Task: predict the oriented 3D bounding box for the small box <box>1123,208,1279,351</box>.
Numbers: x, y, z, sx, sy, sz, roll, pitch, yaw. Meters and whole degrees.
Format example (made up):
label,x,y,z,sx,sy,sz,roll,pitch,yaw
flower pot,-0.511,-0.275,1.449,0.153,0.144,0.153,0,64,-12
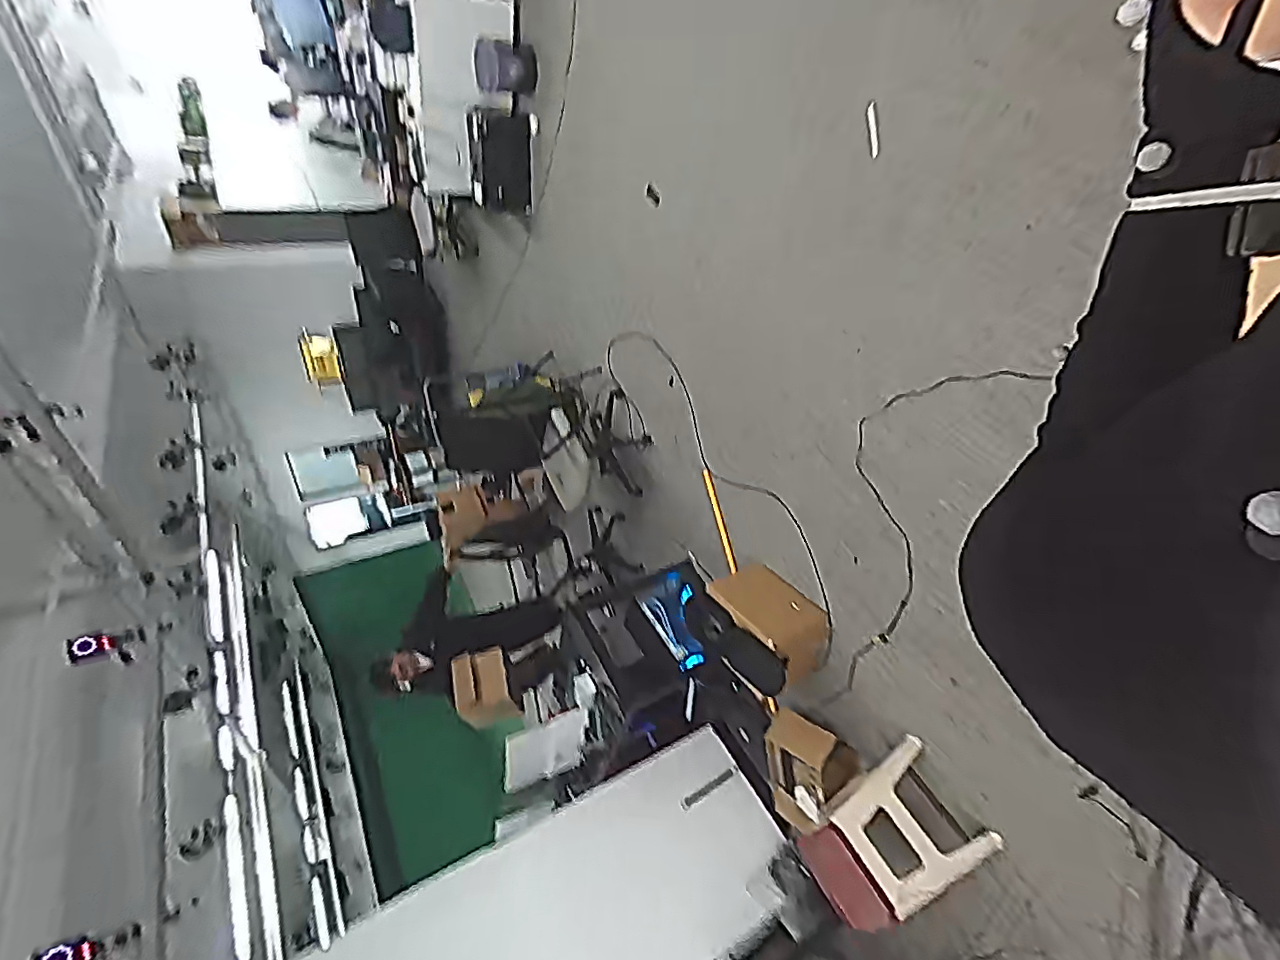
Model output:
label,x,y,z,sx,sy,sz,roll,pitch,yaw
small box,0.953,-0.325,0.864,0.179,0.176,0.168,49,142,41
